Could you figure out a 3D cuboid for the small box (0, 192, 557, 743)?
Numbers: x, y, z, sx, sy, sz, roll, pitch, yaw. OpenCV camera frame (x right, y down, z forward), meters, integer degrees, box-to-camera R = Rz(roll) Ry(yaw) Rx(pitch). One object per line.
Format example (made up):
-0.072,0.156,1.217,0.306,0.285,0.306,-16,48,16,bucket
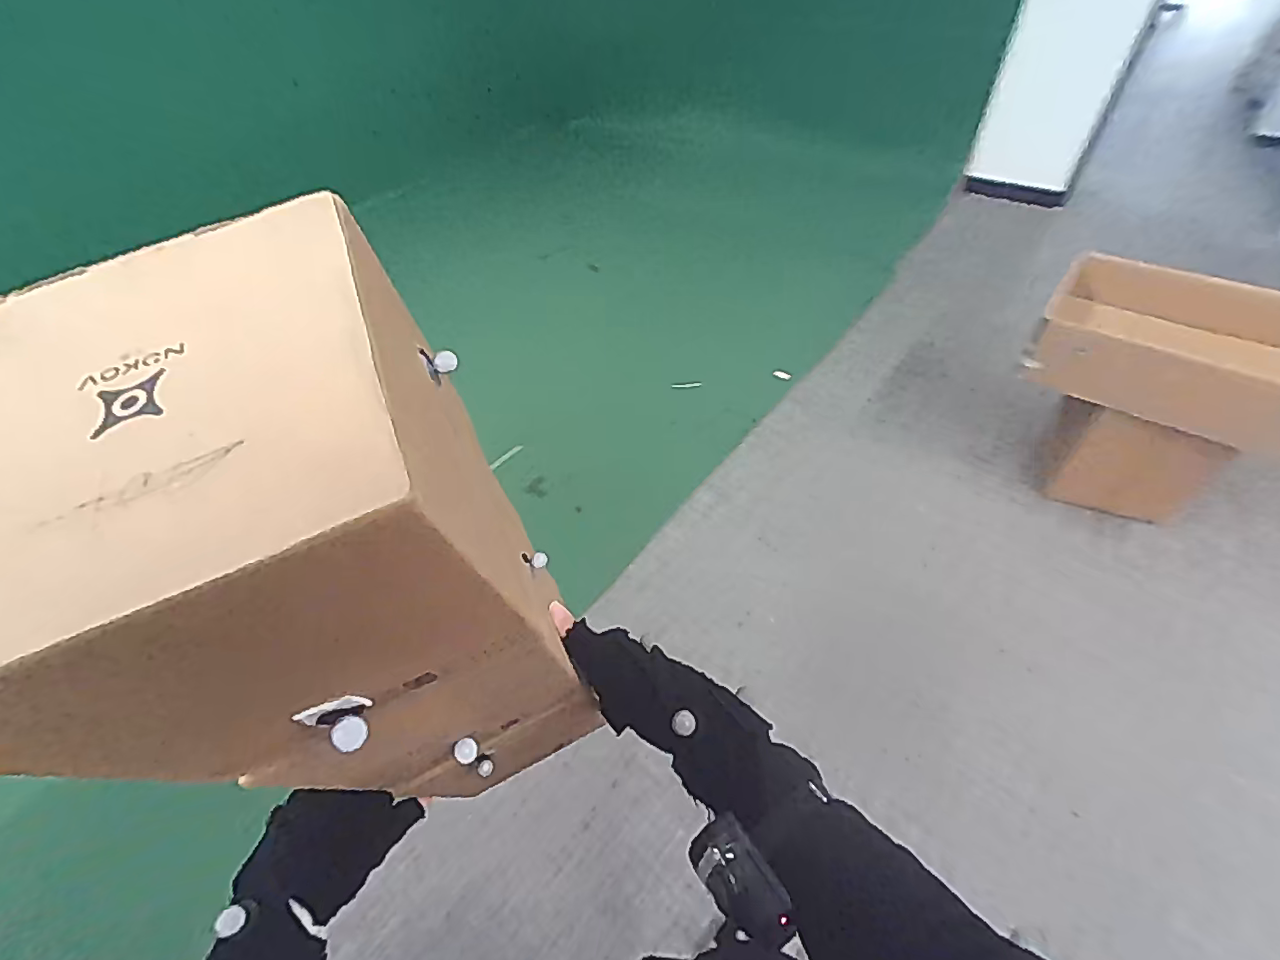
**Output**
-0.157,0.005,0.265,0.168,0.176,0.179,-24,62,-7,small box

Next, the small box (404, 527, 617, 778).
-0.136,0.174,0.544,0.168,0.176,0.179,-25,60,-9,small box

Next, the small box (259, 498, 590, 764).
-0.150,0.087,0.404,0.168,0.176,0.179,-24,61,-8,small box
